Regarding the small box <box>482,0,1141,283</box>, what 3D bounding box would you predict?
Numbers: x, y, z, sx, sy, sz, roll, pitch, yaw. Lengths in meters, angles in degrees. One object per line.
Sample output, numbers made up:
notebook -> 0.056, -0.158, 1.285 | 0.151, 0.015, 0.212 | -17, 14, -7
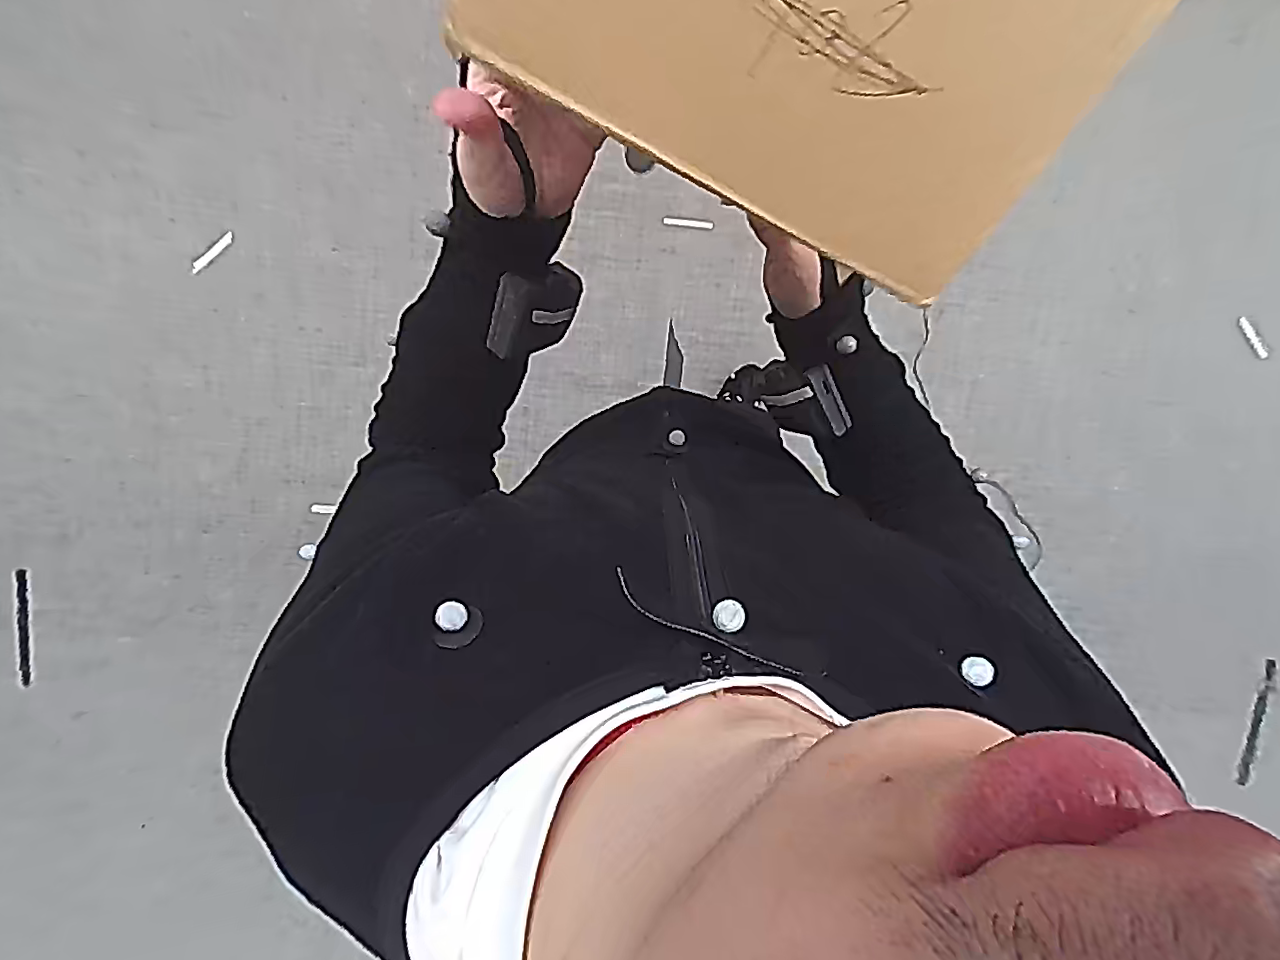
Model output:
small box -> 0.057, -0.205, 0.188 | 0.168, 0.176, 0.179 | 17, 124, -16
